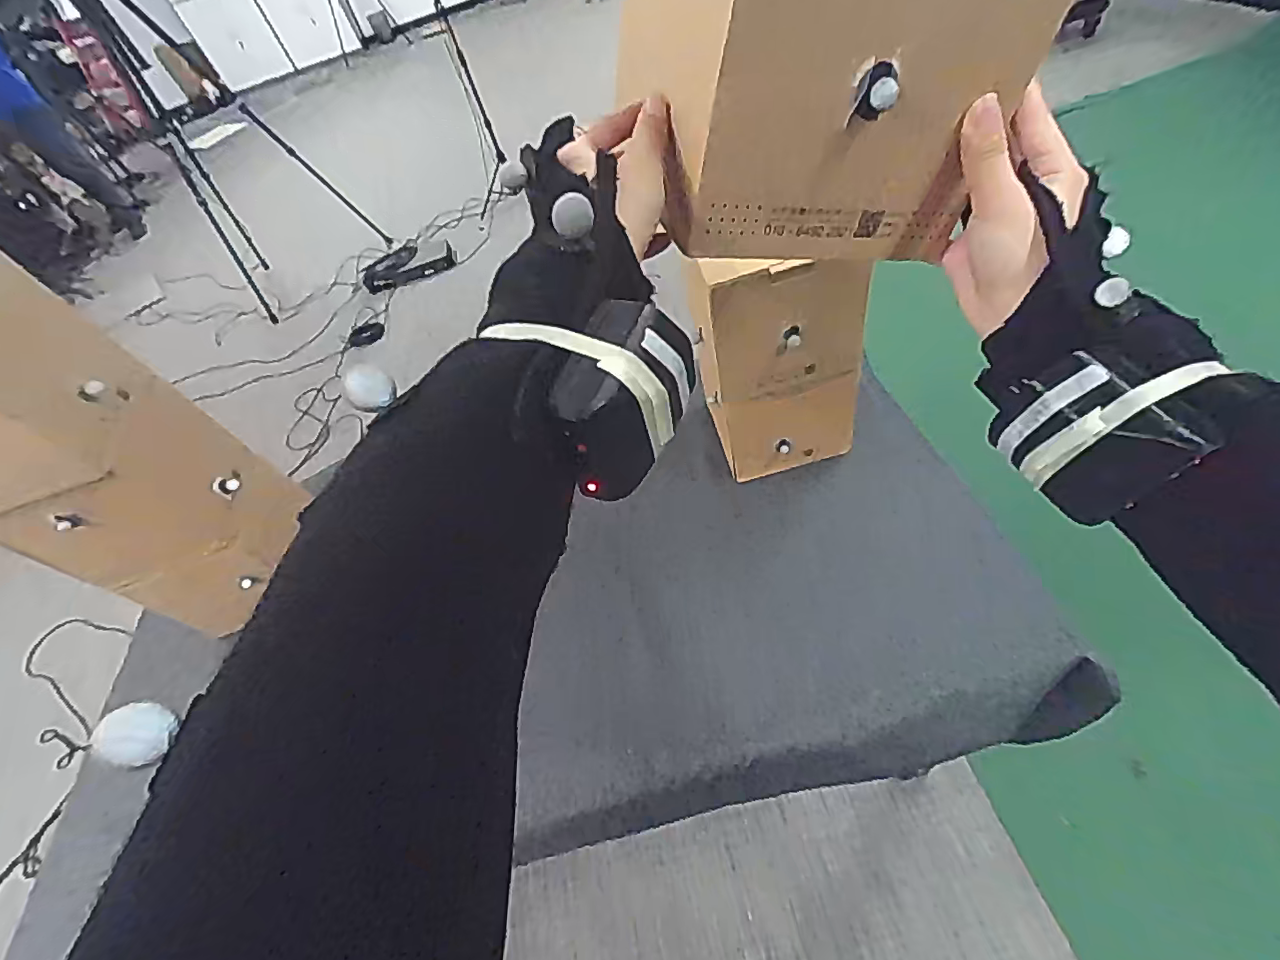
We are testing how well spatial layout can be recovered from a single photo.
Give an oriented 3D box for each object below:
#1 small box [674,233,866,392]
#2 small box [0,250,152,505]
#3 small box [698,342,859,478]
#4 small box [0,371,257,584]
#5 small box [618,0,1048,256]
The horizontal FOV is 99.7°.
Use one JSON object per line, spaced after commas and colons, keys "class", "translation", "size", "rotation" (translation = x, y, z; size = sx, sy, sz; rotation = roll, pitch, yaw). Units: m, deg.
{"class": "small box", "translation": [0.143, -0.222, 0.620], "size": [0.168, 0.176, 0.179], "rotation": [-15, 53, 4]}
{"class": "small box", "translation": [-0.653, -0.086, 0.529], "size": [0.179, 0.176, 0.168], "rotation": [-18, 53, 0]}
{"class": "small box", "translation": [0.181, -0.132, 0.752], "size": [0.168, 0.176, 0.179], "rotation": [-16, 53, 4]}
{"class": "small box", "translation": [-0.624, 0.004, 0.664], "size": [0.179, 0.176, 0.168], "rotation": [-20, 53, -2]}
{"class": "small box", "translation": [0.090, -0.241, 0.302], "size": [0.168, 0.176, 0.179], "rotation": [-6, 47, -16]}
